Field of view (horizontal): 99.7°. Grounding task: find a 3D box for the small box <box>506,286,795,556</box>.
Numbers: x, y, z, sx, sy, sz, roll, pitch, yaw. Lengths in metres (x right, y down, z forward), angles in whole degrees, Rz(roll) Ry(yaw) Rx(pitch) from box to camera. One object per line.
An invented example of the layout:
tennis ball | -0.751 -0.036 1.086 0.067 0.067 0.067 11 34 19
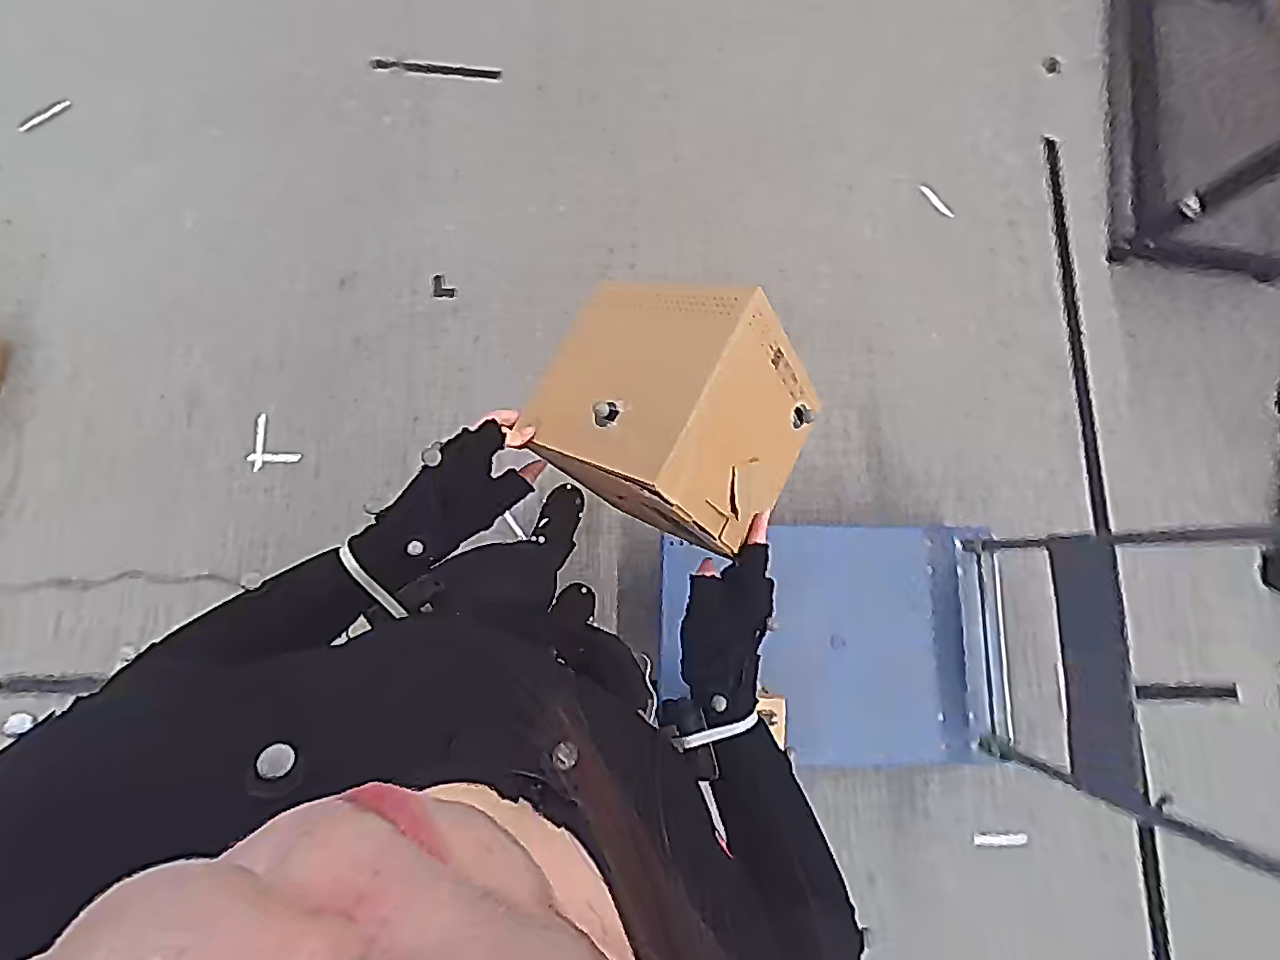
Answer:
small box | 0.020 -0.055 0.489 0.179 0.168 0.176 20 78 40

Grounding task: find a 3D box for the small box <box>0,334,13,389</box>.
small box | -1.801 -0.327 1.395 0.168 0.176 0.179 5 82 -3
